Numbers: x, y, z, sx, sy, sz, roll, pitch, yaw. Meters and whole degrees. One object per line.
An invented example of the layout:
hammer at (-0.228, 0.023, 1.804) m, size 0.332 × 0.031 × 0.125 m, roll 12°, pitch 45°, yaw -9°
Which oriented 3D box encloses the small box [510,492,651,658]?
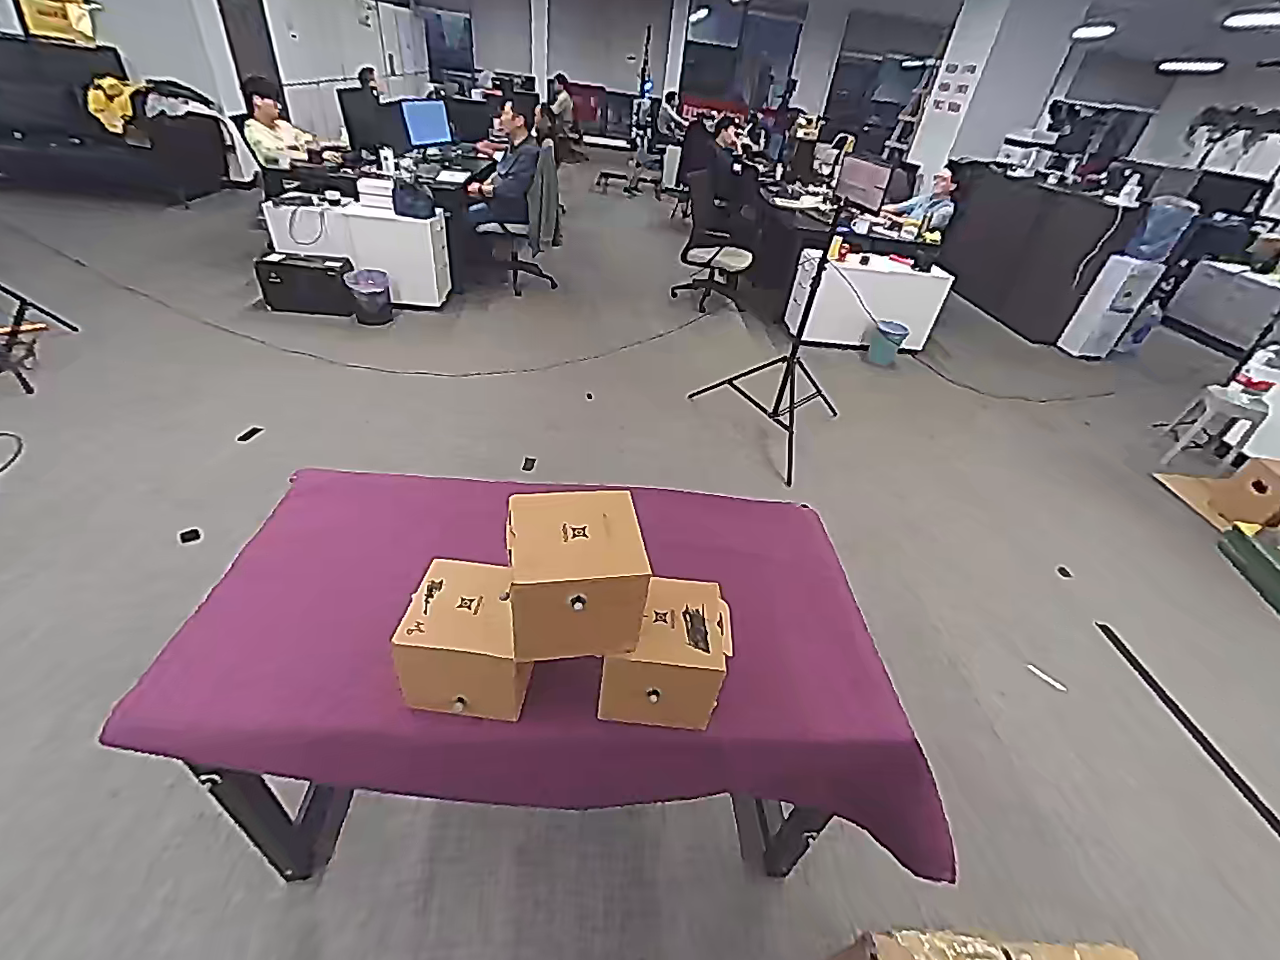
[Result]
small box at (-0.092, 0.135, 0.771) m, size 0.179 × 0.176 × 0.168 m, roll -2°, pitch 39°, yaw -13°

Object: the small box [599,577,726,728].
small box at (0.033, 0.278, 0.875) m, size 0.179 × 0.176 × 0.168 m, roll 6°, pitch 36°, yaw -1°

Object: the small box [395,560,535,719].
small box at (-0.257, 0.254, 0.855) m, size 0.179 × 0.176 × 0.168 m, roll 8°, pitch 36°, yaw -1°
